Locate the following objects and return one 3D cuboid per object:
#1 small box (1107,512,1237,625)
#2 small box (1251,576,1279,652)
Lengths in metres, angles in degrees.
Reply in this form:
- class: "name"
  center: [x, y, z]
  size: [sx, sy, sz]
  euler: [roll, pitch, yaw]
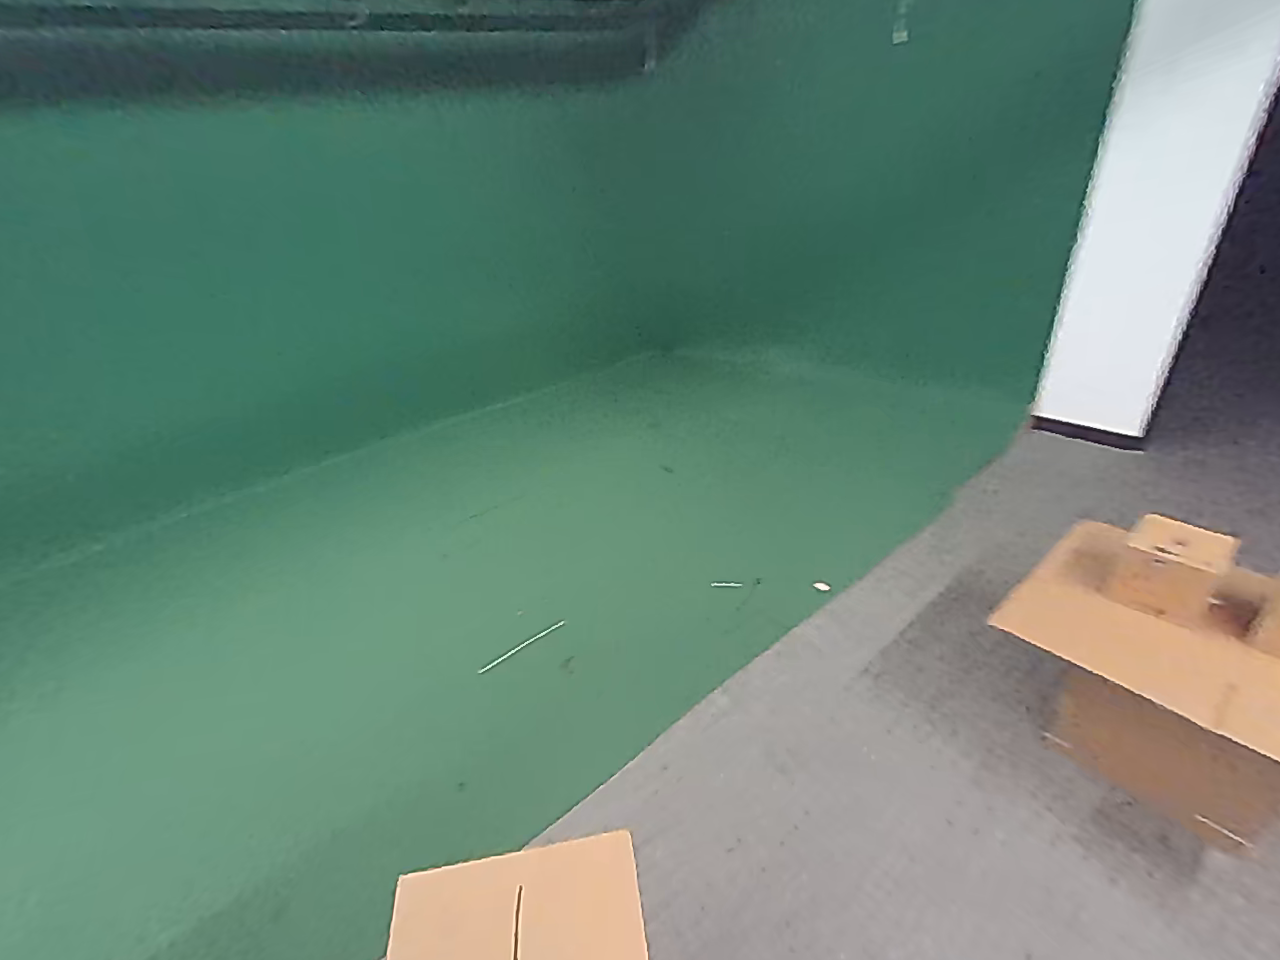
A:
- class: "small box"
  center: [1.253, 0.206, 1.282]
  size: [0.179, 0.176, 0.168]
  euler: [-27, 34, -31]
- class: "small box"
  center: [1.428, 0.278, 1.114]
  size: [0.168, 0.176, 0.179]
  euler: [-25, 32, -27]
